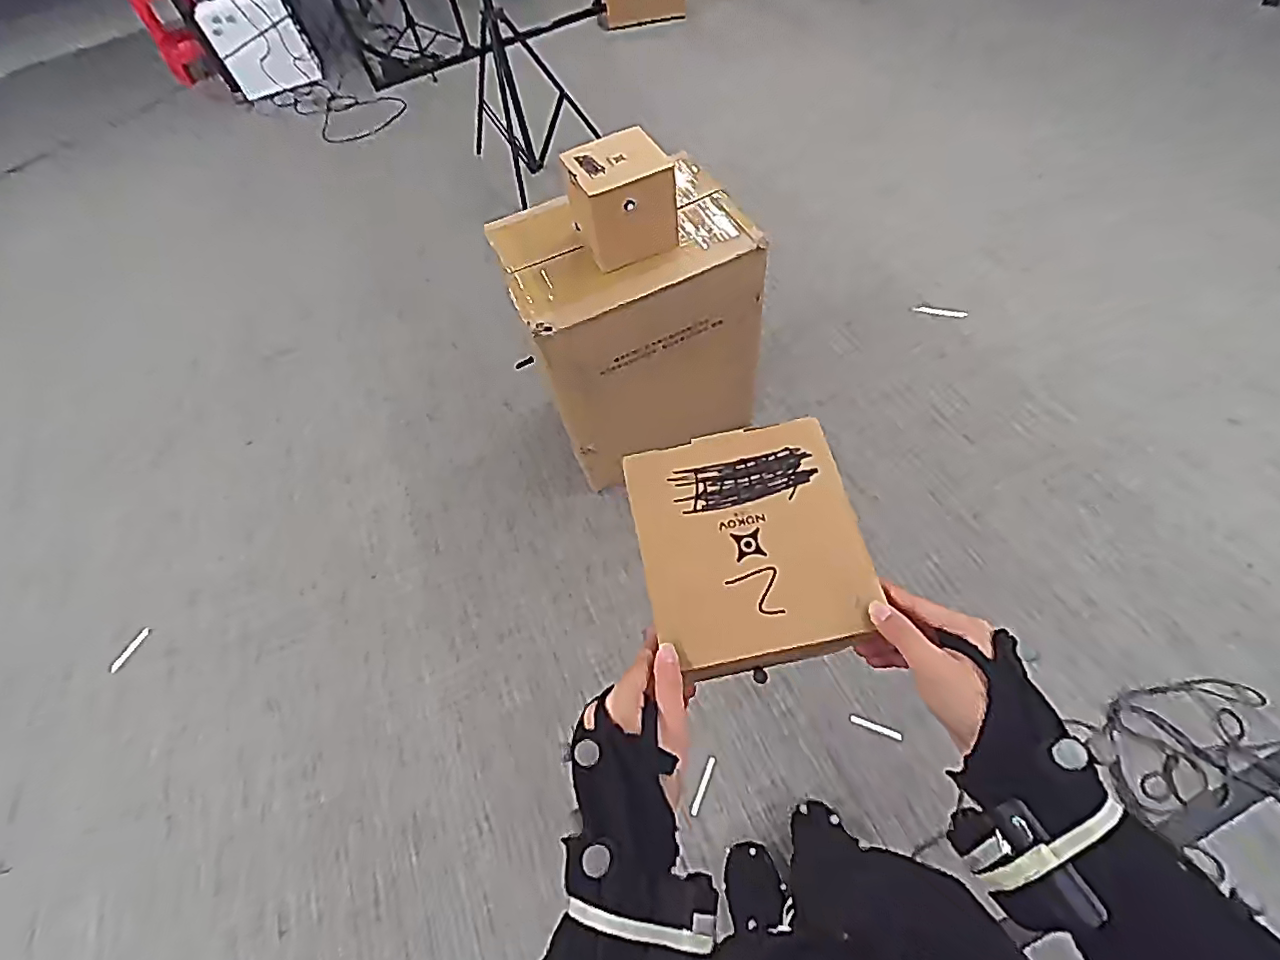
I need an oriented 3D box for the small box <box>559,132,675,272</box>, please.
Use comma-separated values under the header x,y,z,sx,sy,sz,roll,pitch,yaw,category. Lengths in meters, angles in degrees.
x,y,z,sx,sy,sz,roll,pitch,yaw,category
-0.041,-0.553,1.090,0.179,0.176,0.168,-24,60,-7,small box
